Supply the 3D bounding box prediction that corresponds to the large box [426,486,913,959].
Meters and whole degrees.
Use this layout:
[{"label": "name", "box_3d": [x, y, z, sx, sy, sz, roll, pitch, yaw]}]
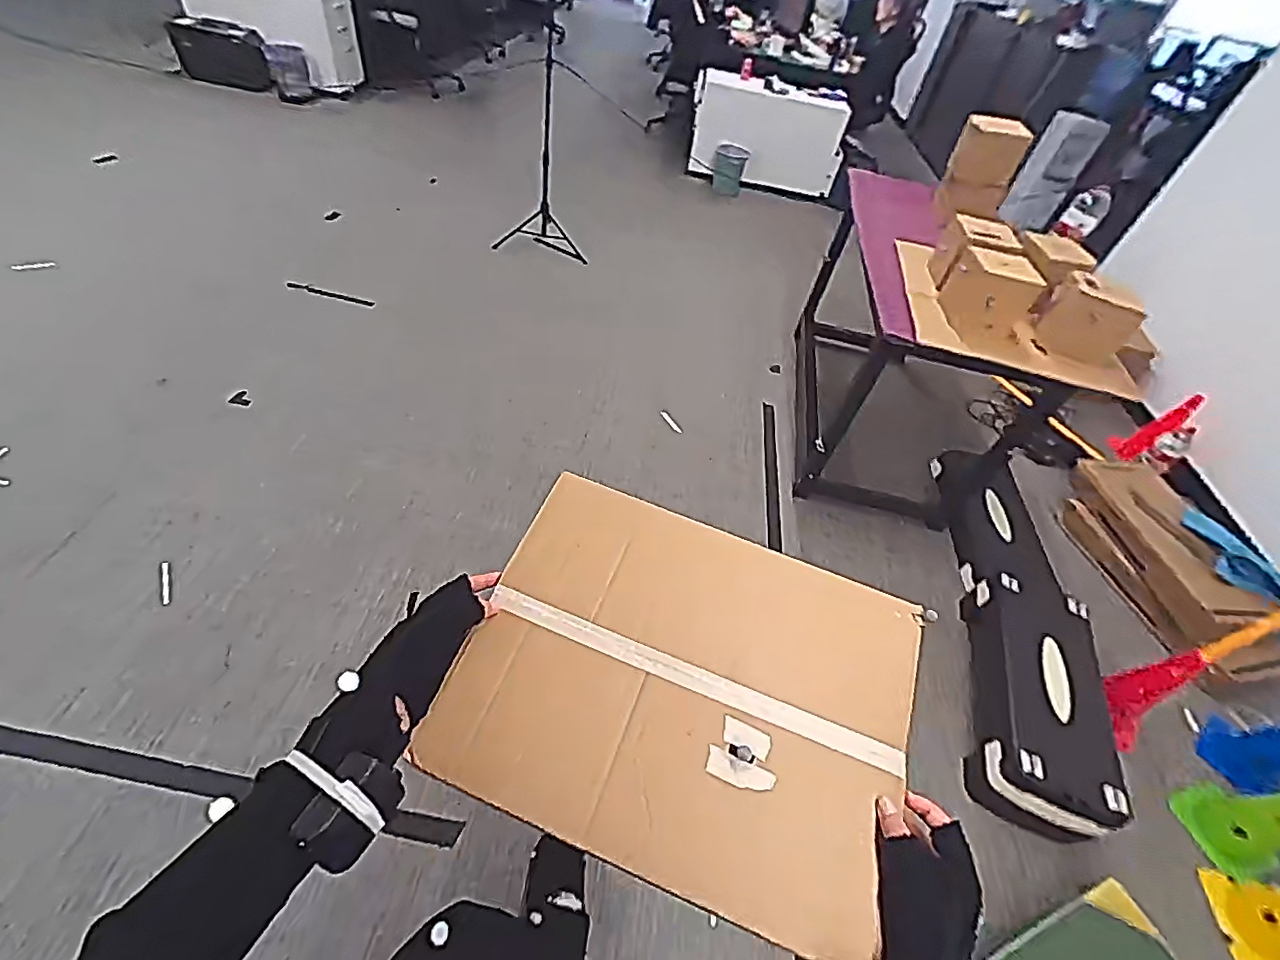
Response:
[{"label": "large box", "box_3d": [0.038, 0.267, 0.643, 0.408, 0.320, 0.320, 21, 60, 8]}]
